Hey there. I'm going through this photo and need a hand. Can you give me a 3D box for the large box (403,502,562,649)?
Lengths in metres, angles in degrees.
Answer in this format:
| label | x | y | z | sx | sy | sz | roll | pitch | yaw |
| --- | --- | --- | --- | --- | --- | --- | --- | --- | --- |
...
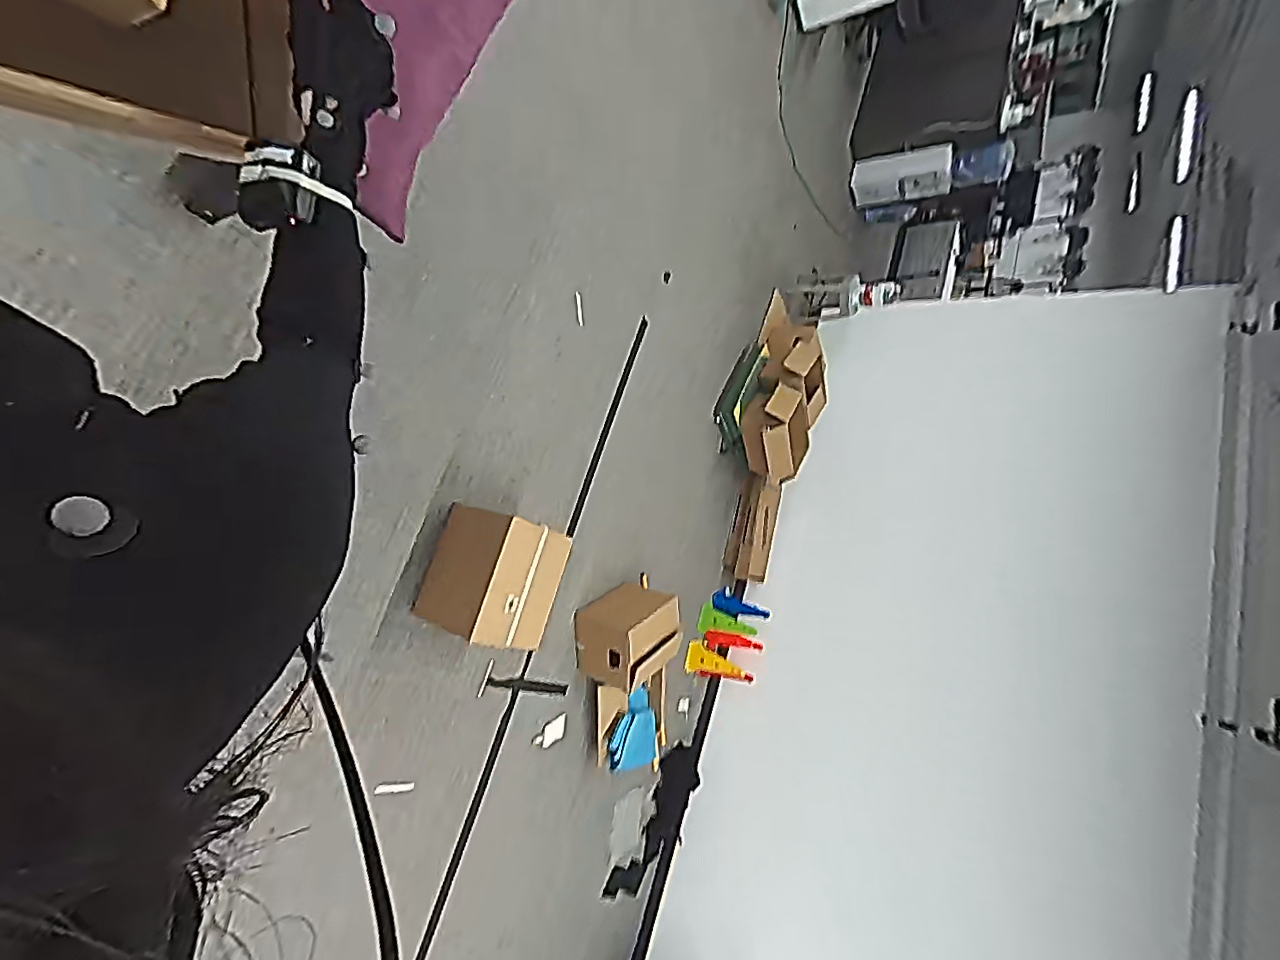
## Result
| label | x | y | z | sx | sy | sz | roll | pitch | yaw |
| --- | --- | --- | --- | --- | --- | --- | --- | --- | --- |
| large box | -0.528 | 0.322 | 1.840 | 0.320 | 0.320 | 0.408 | 33 | 71 | -53 |
